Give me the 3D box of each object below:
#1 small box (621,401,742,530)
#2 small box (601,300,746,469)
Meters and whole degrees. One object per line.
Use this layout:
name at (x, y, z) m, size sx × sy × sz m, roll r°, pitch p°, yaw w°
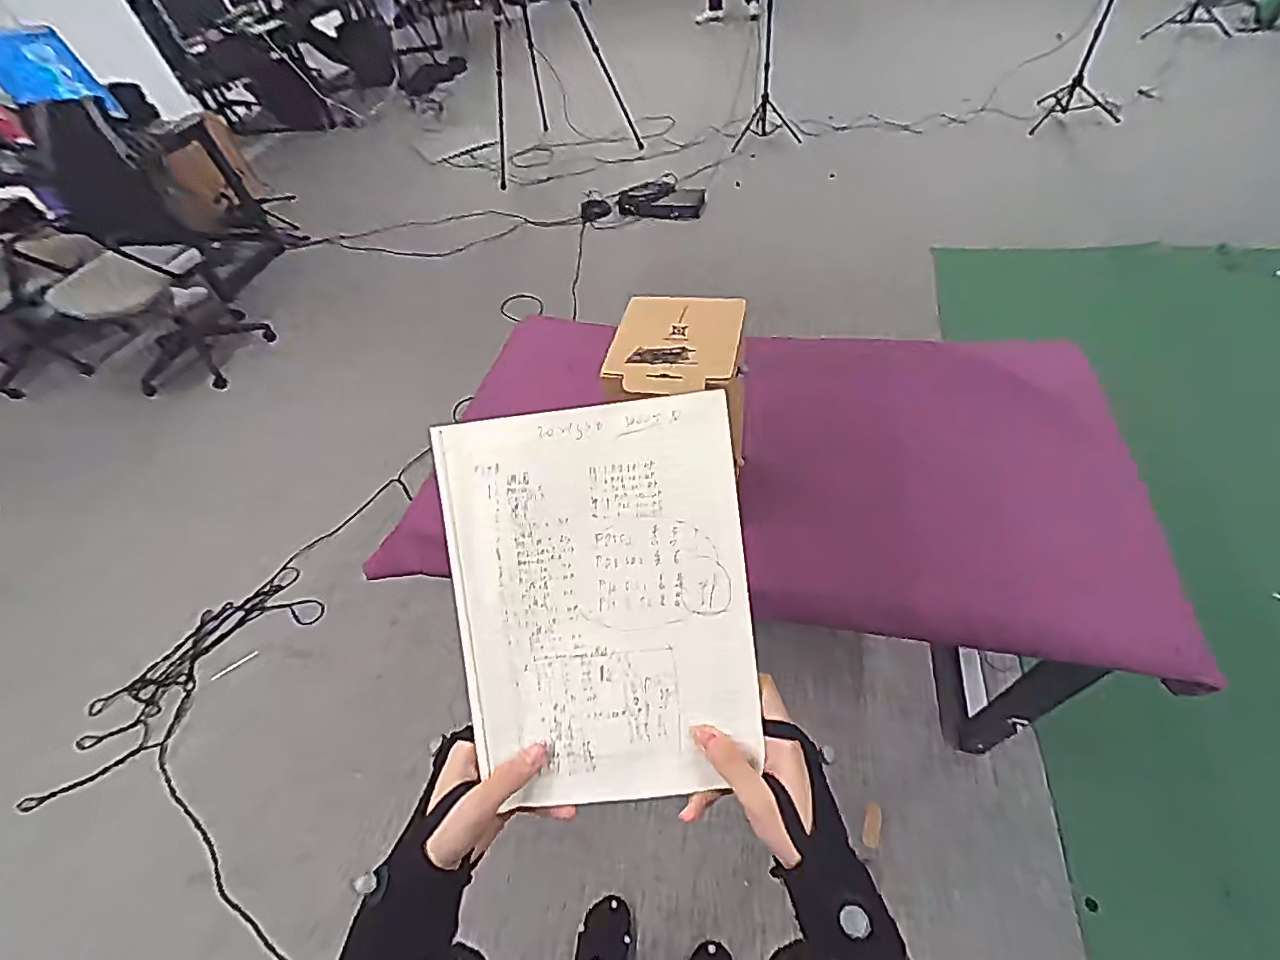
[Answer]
small box at (0.079, -0.036, 0.904) m, size 0.168 × 0.176 × 0.179 m, roll 6°, pitch 53°, yaw 13°
small box at (0.058, -0.135, 0.773) m, size 0.168 × 0.176 × 0.179 m, roll 6°, pitch 51°, yaw 14°
